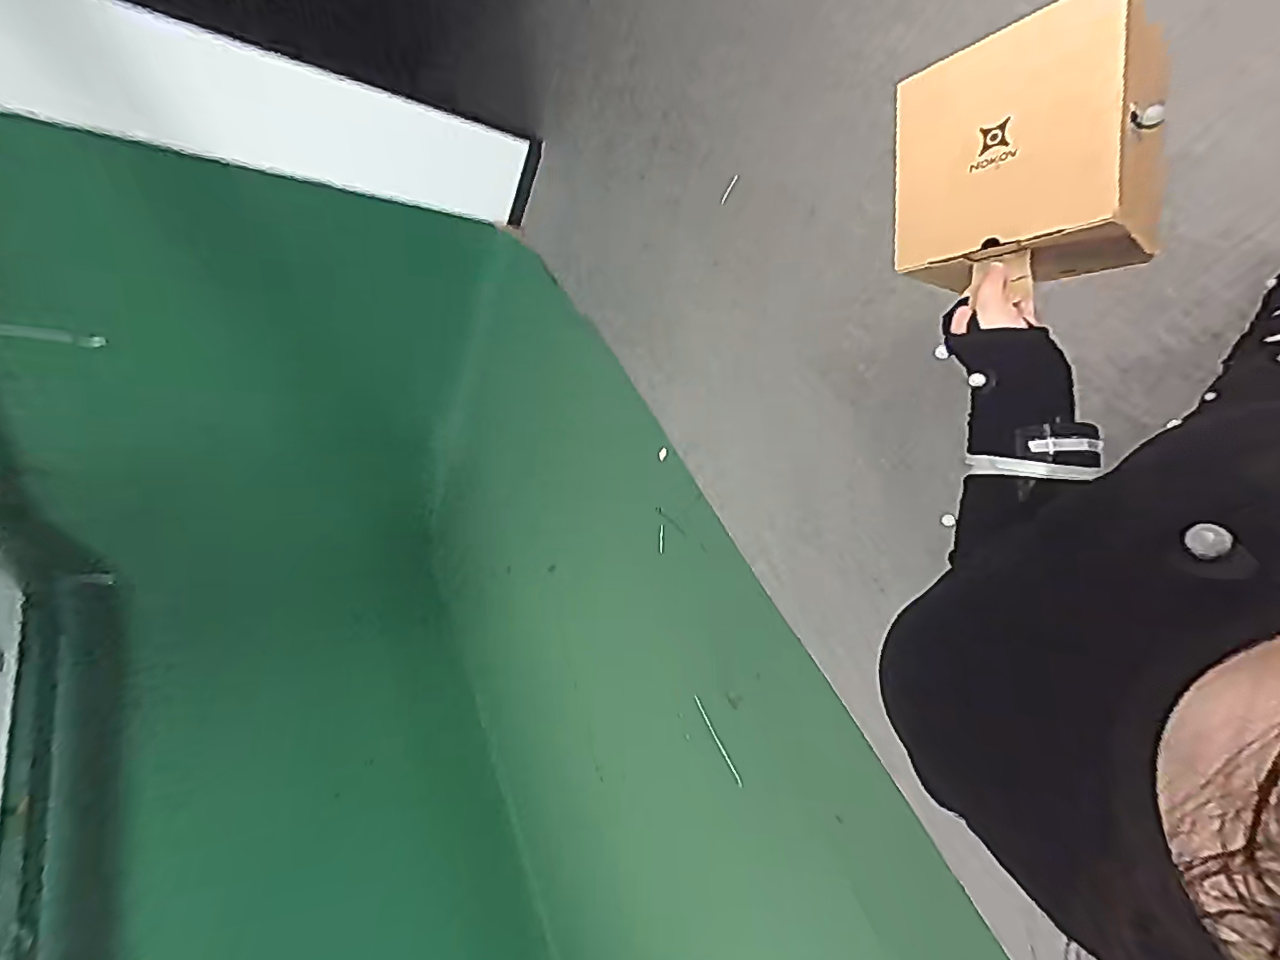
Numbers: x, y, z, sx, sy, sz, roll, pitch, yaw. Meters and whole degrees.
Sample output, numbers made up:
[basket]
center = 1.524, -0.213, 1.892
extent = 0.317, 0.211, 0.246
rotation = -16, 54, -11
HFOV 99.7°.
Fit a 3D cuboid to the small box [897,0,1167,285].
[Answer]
[small box]
center = 0.363, -0.296, 0.504
extent = 0.168, 0.176, 0.179
rotation = 7, 101, 50
